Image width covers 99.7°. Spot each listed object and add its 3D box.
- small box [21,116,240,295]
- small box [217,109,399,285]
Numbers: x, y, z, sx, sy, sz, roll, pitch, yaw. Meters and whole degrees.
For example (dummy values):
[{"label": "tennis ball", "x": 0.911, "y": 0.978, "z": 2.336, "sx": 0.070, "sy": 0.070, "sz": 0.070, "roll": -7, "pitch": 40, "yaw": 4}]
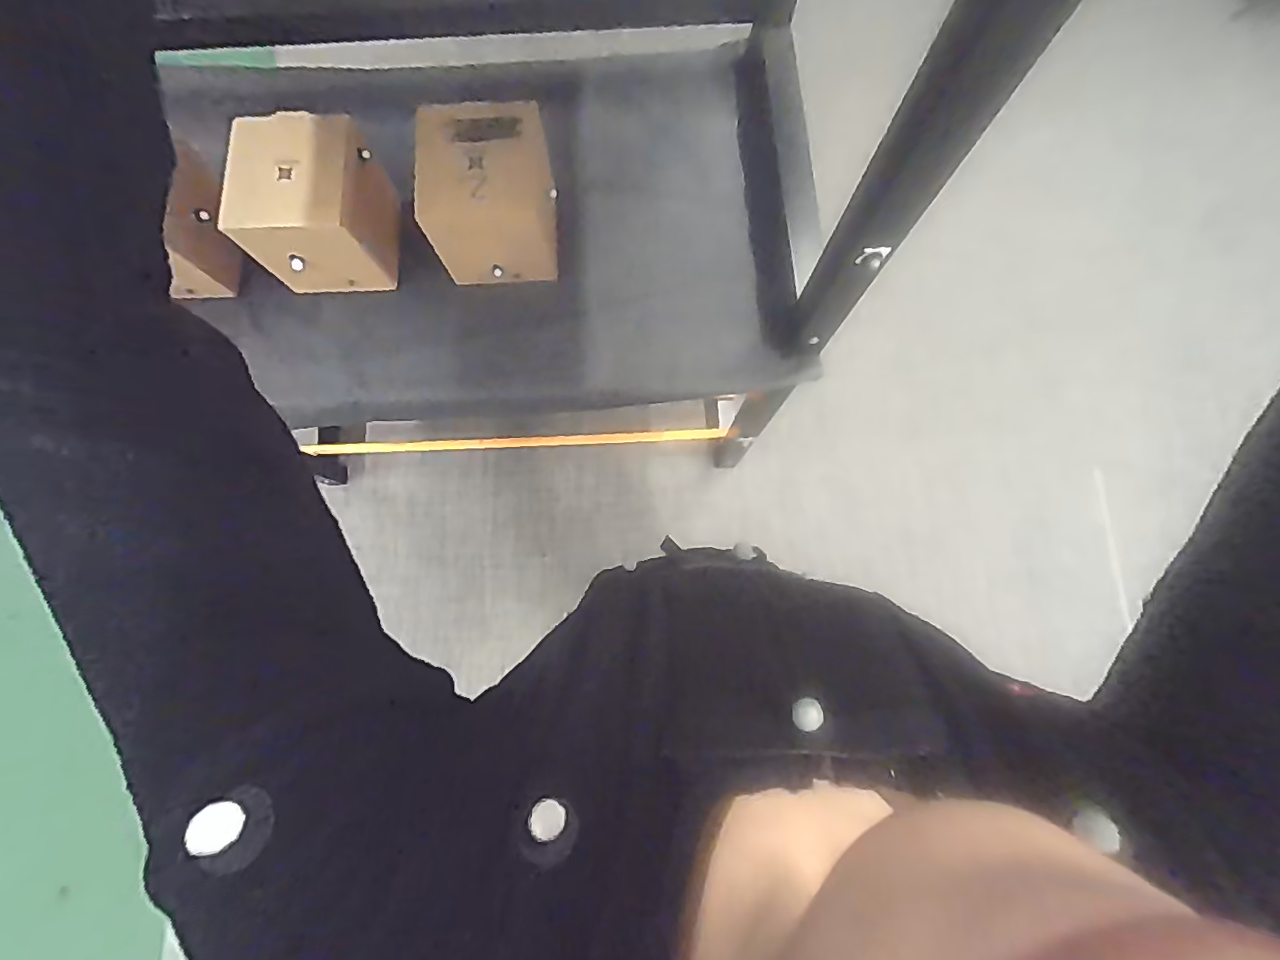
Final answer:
[{"label": "small box", "x": -0.731, "y": -0.398, "z": 0.803, "sx": 0.168, "sy": 0.176, "sz": 0.179, "roll": -1, "pitch": 80, "yaw": 0}, {"label": "small box", "x": -0.479, "y": -0.407, "z": 0.806, "sx": 0.168, "sy": 0.176, "sz": 0.179, "roll": -2, "pitch": 79, "yaw": 0}]
